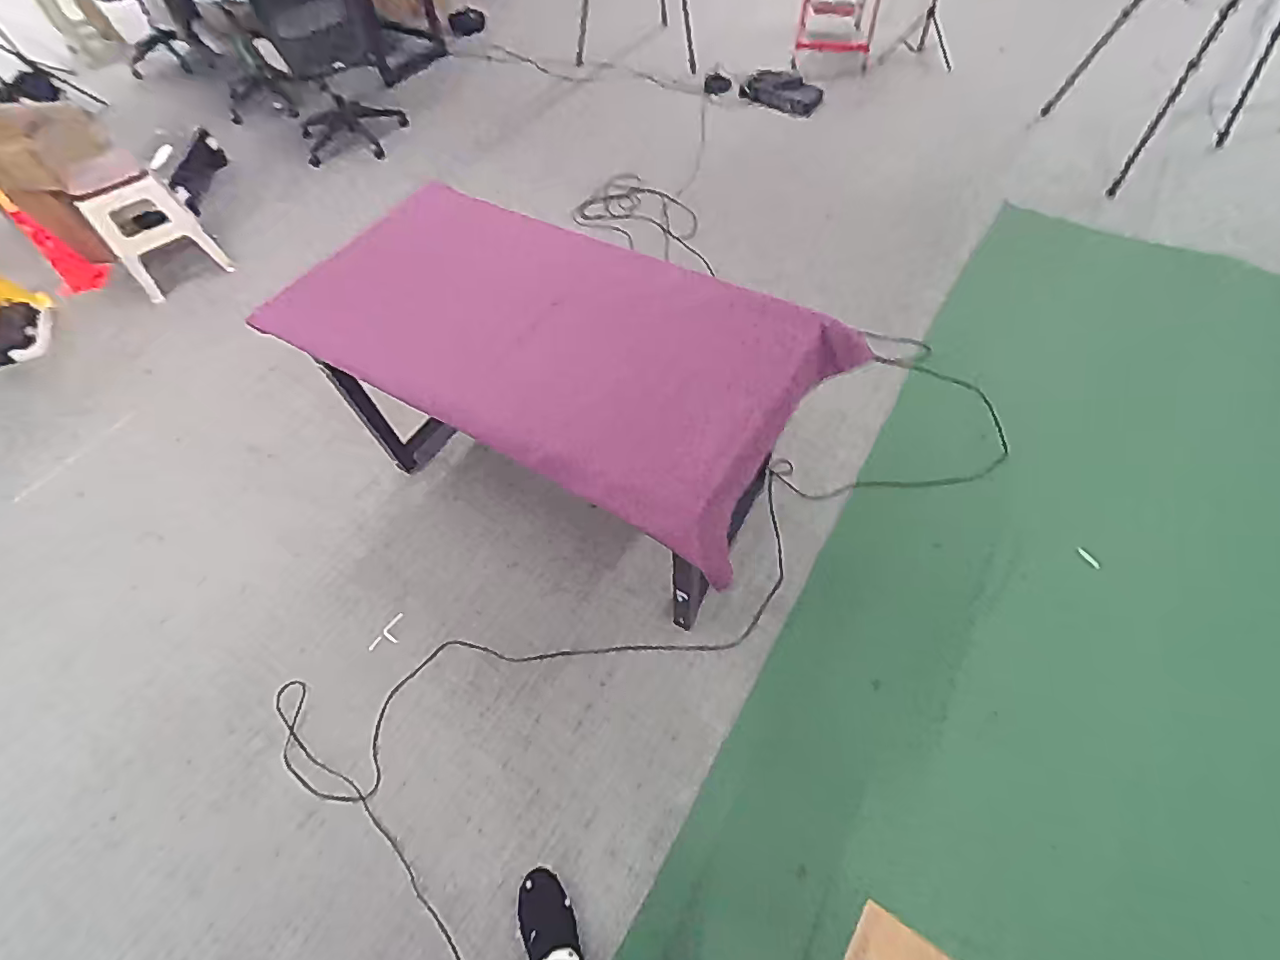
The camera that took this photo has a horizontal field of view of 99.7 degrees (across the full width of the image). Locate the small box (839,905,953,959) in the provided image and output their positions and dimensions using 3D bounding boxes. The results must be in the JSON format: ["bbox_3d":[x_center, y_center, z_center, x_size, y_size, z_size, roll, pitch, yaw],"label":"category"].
[{"bbox_3d":[0.383,0.723,0.719,0.179,0.176,0.168,41,70,-11],"label":"small box"}]
